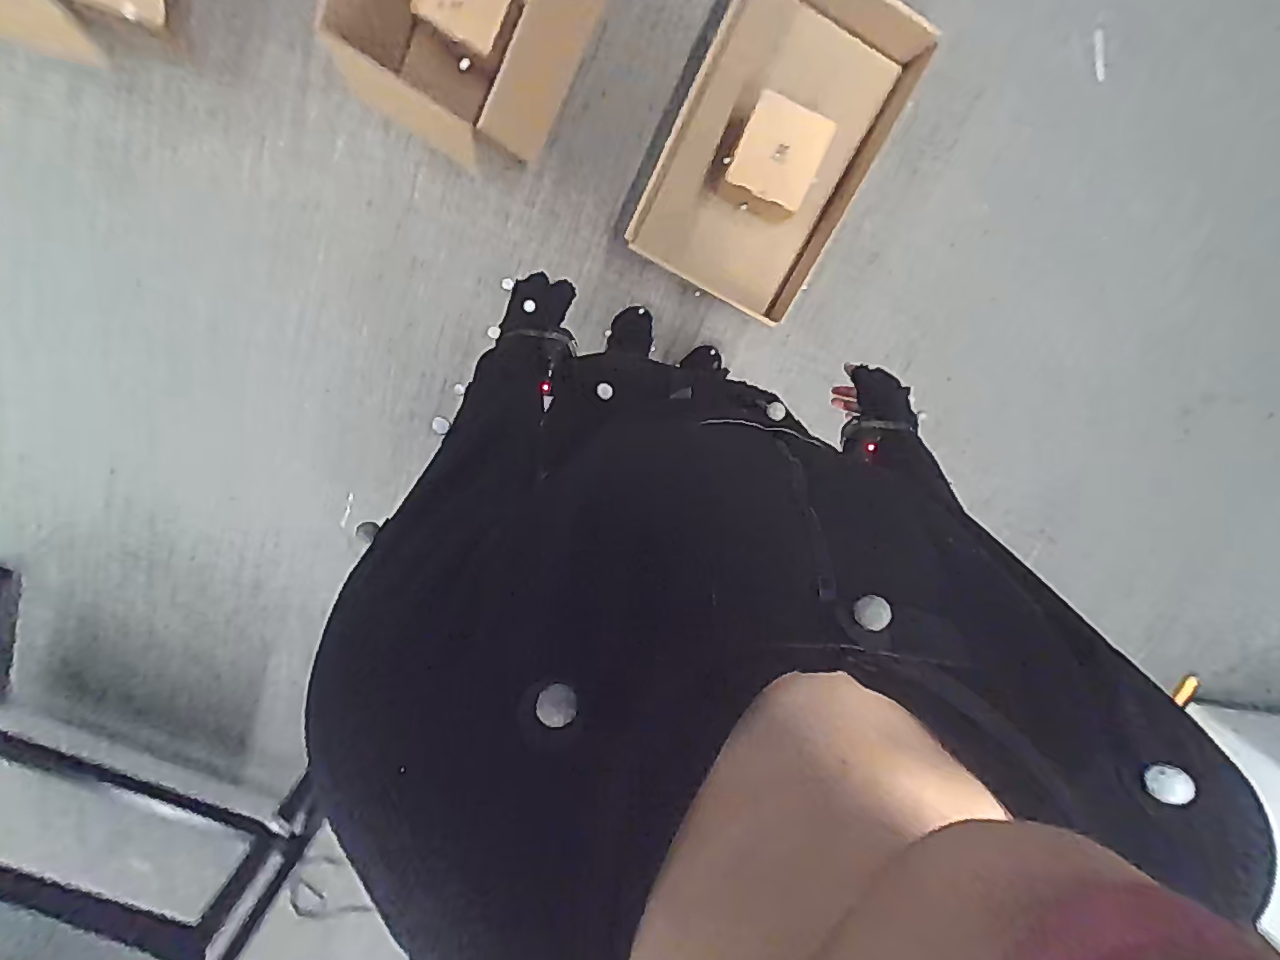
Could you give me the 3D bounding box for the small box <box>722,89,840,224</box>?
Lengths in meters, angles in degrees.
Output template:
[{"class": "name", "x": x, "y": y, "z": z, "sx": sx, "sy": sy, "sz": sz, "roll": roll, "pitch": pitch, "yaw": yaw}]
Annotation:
[{"class": "small box", "x": 0.286, "y": -0.673, "z": 1.149, "sx": 0.168, "sy": 0.176, "sz": 0.179, "roll": 22, "pitch": 107, "yaw": -6}]
